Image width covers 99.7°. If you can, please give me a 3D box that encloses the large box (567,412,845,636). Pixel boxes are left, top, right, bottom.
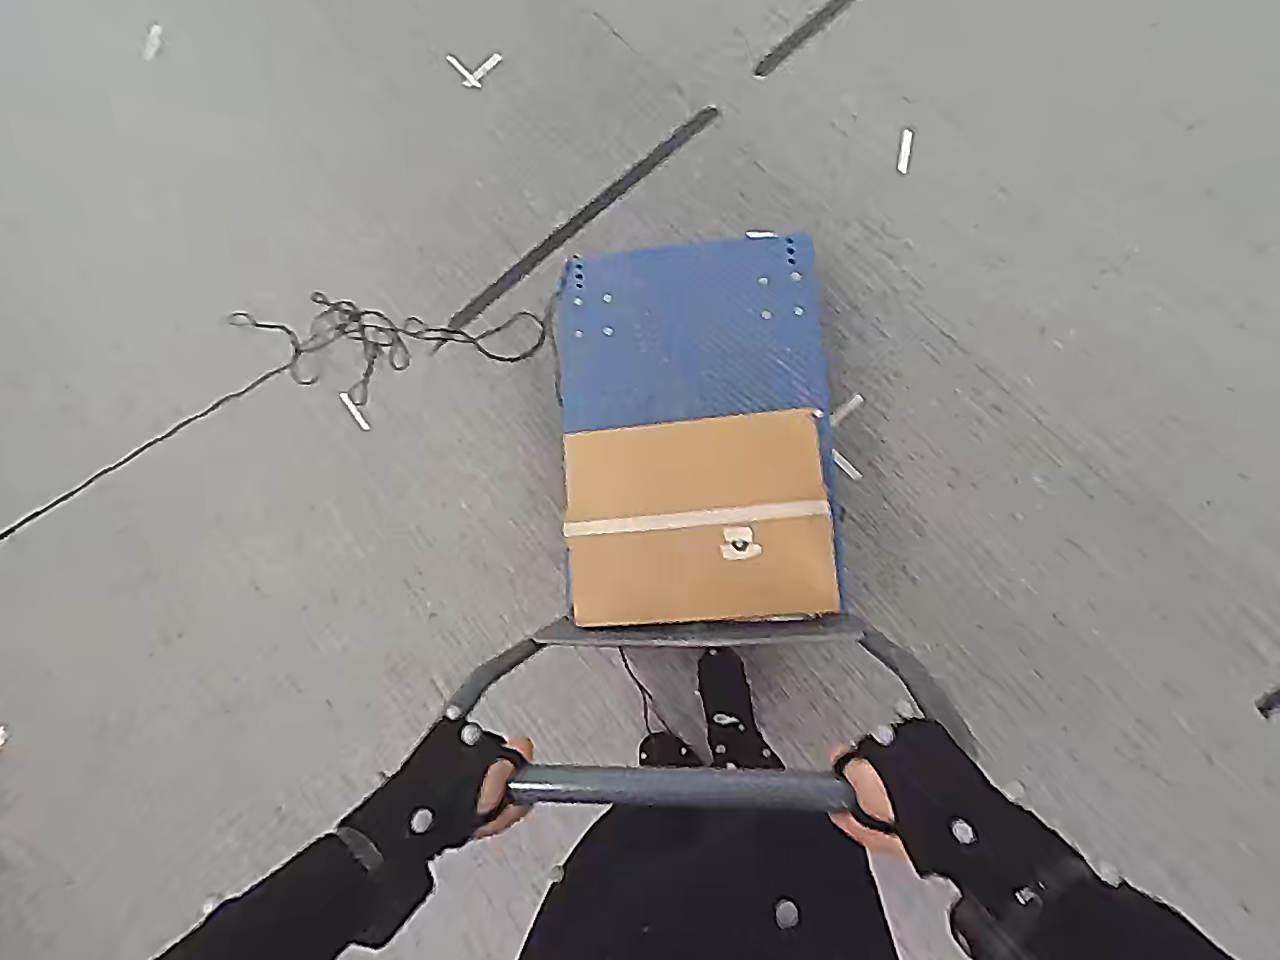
[{"bbox_3d":[0.108,0.089,0.973,0.408,0.320,0.320,-6,81,7],"label":"large box"}]
